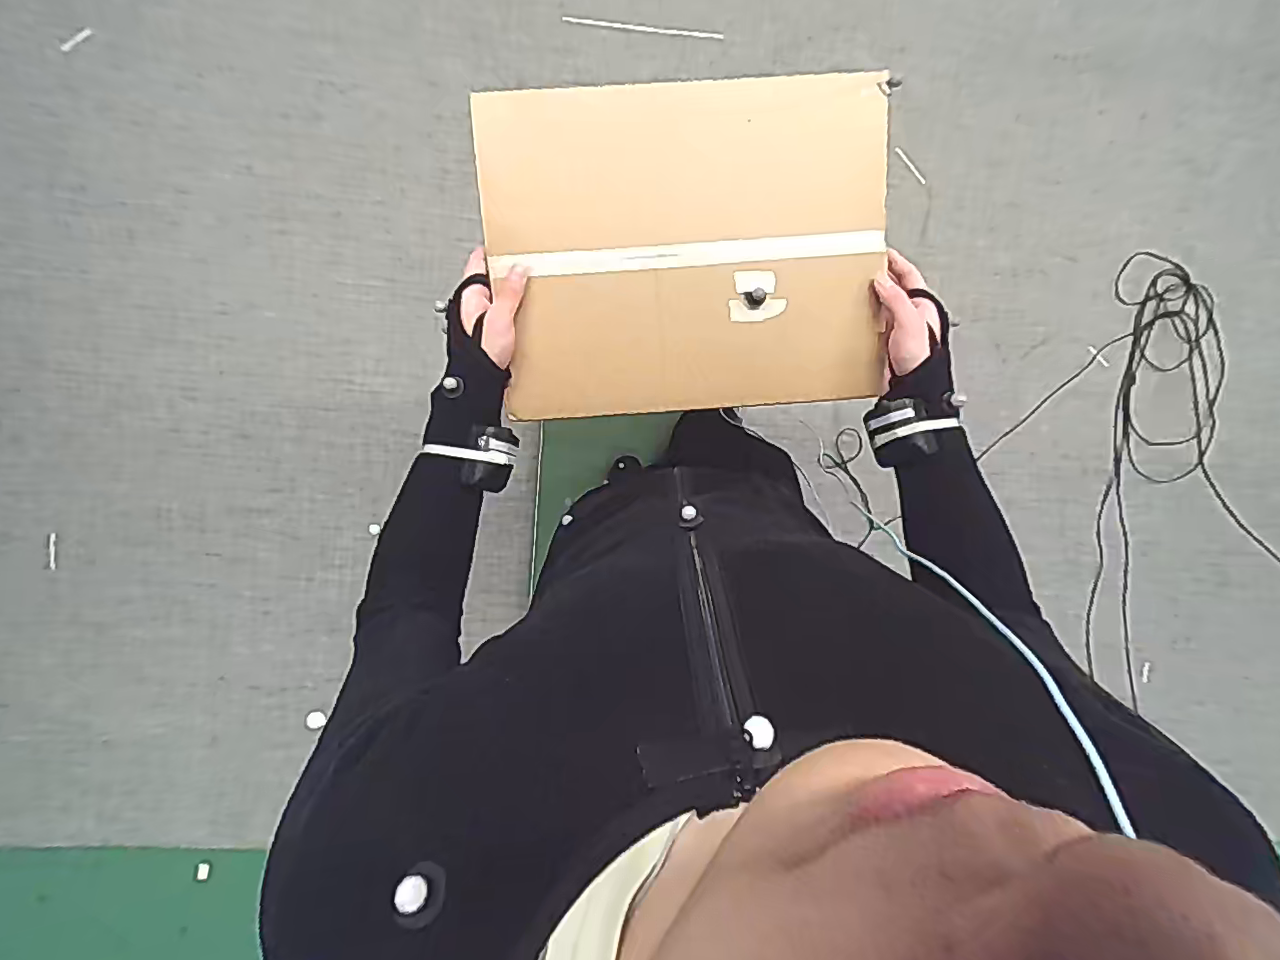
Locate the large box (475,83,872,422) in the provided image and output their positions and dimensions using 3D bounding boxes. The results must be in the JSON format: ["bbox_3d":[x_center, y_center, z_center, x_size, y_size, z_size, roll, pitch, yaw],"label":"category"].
[{"bbox_3d":[0.038,-0.257,0.710,0.408,0.320,0.320,-5,102,-2],"label":"large box"}]
